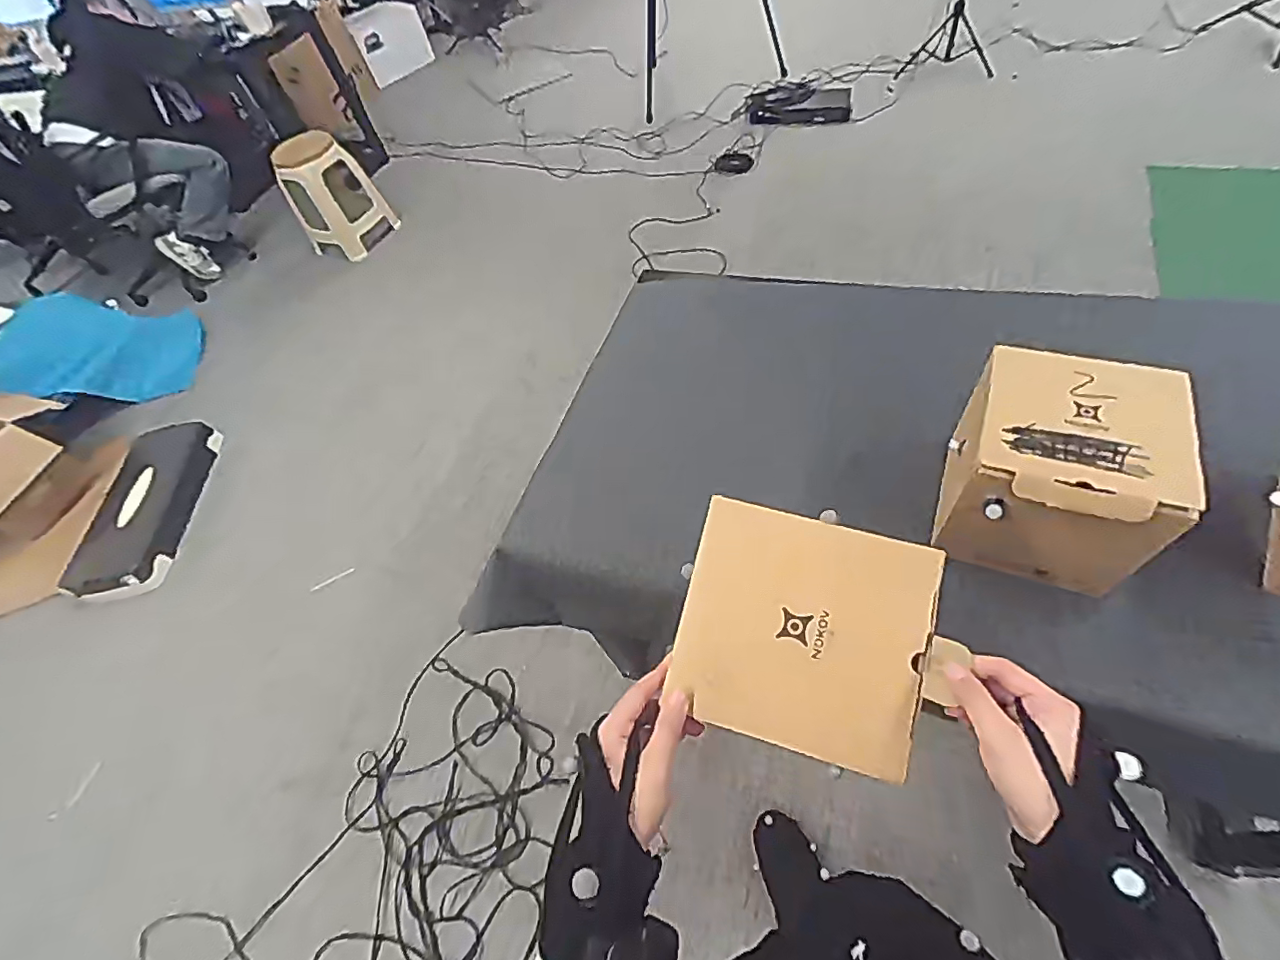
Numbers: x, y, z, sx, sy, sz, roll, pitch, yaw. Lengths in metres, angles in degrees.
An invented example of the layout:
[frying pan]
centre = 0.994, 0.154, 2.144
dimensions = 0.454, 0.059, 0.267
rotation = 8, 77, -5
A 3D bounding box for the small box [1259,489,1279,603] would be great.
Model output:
[small box]
centre = 0.734, 0.050, 0.481
dimensions = 0.179, 0.176, 0.168
rotation = 25, 63, 27
